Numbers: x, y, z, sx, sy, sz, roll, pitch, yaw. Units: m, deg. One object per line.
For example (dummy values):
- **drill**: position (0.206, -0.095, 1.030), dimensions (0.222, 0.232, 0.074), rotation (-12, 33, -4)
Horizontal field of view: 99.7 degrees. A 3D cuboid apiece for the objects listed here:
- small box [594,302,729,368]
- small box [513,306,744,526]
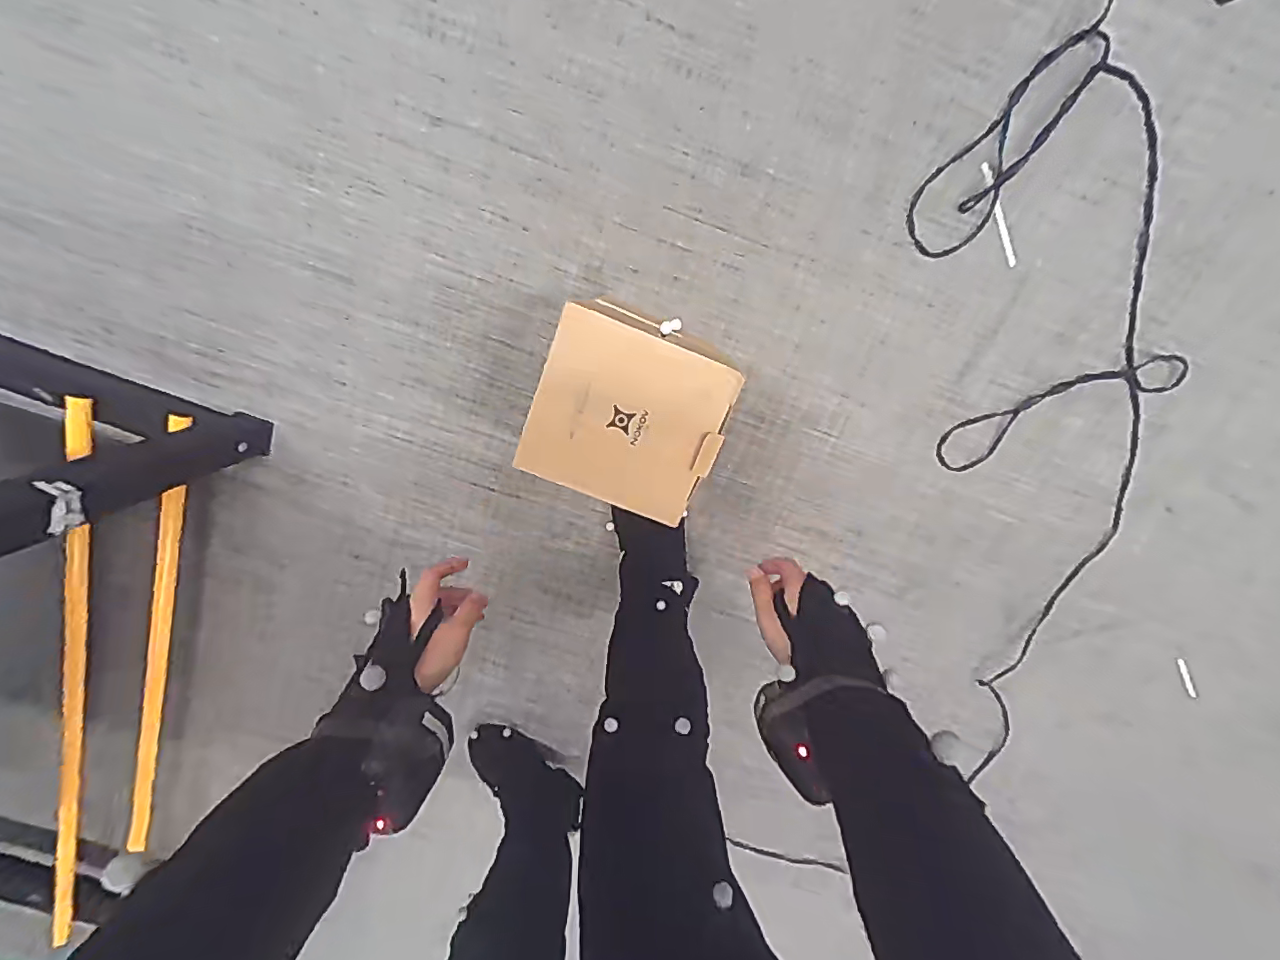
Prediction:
- **small box**: position (-0.002, -0.134, 0.735), dimensions (0.179, 0.176, 0.168), rotation (22, 108, -7)
- **small box**: position (-0.011, -0.079, 0.581), dimensions (0.179, 0.176, 0.168), rotation (21, 107, -4)
